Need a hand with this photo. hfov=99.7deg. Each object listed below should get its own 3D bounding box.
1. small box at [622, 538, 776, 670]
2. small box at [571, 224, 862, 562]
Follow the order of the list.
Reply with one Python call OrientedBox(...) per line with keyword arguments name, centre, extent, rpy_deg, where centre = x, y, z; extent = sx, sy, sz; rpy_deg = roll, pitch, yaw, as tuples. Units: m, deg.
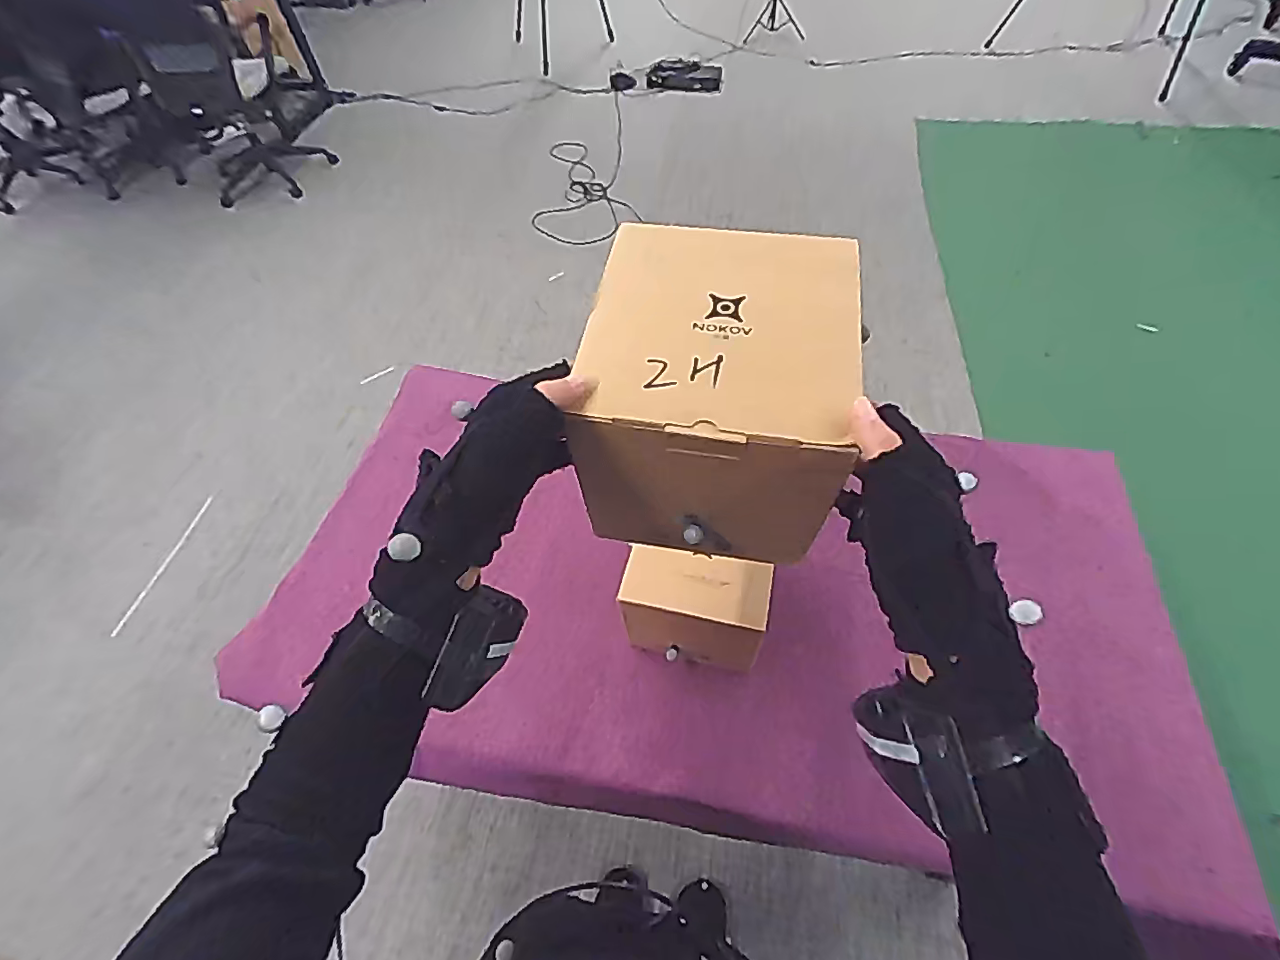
OrientedBox(name="small box", centre=(0.083, 0.121, 0.700), extent=(0.168, 0.176, 0.179), rpy_deg=(11, 57, 12))
OrientedBox(name="small box", centre=(0.059, -0.060, 0.409), extent=(0.168, 0.176, 0.179), rpy_deg=(8, 60, 9))
